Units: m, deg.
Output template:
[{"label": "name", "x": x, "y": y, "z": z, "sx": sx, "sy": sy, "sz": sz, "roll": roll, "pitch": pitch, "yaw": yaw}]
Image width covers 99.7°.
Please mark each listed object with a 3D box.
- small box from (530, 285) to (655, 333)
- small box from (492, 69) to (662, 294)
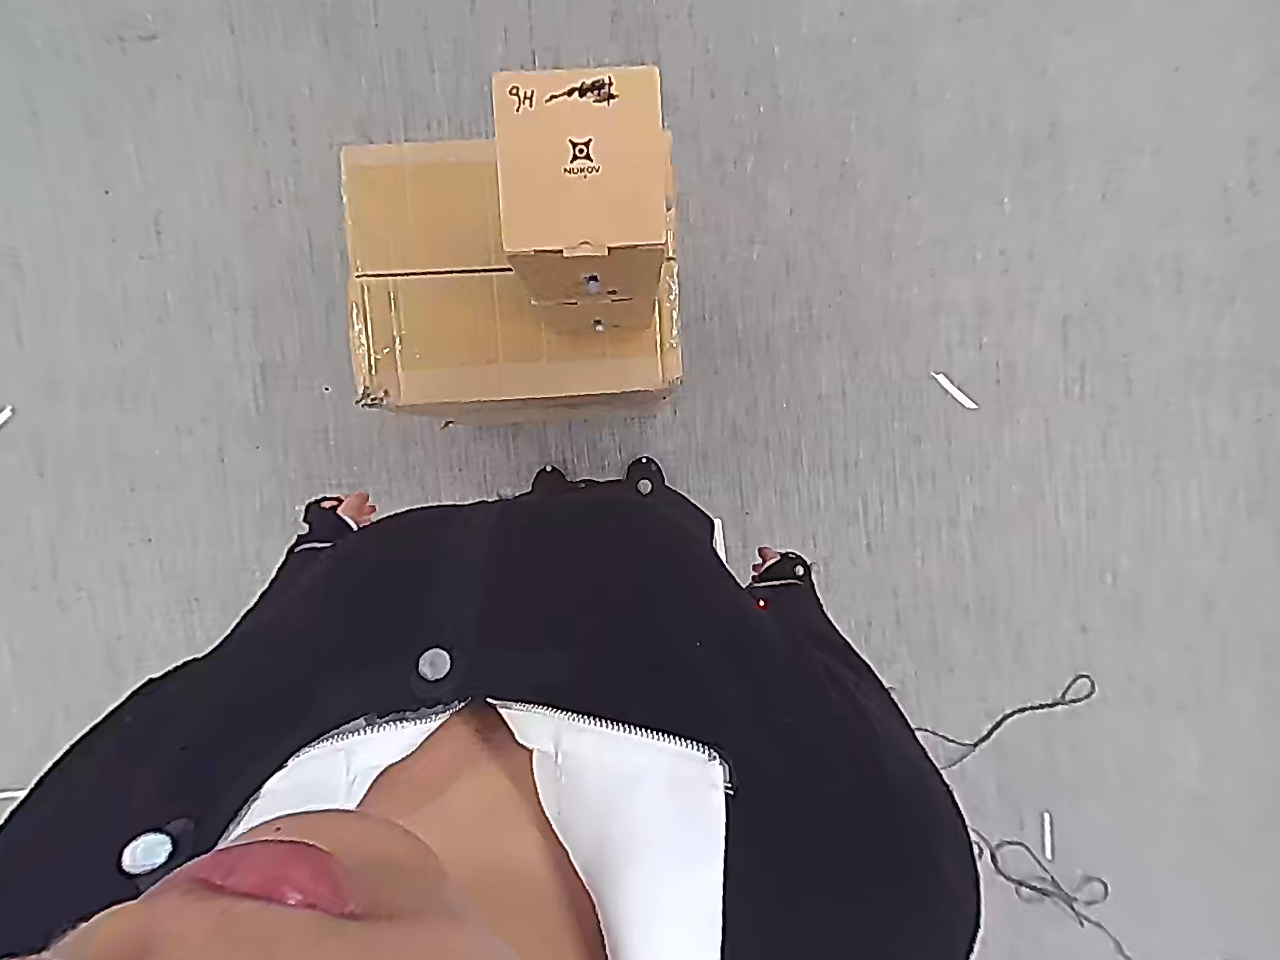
[{"label": "small box", "x": -0.068, "y": -0.322, "z": 0.779, "sx": 0.168, "sy": 0.176, "sz": 0.179, "roll": -4, "pitch": 93, "yaw": 0}, {"label": "small box", "x": -0.061, "y": -0.318, "z": 0.615, "sx": 0.168, "sy": 0.176, "sz": 0.179, "roll": -3, "pitch": 93, "yaw": -1}]
